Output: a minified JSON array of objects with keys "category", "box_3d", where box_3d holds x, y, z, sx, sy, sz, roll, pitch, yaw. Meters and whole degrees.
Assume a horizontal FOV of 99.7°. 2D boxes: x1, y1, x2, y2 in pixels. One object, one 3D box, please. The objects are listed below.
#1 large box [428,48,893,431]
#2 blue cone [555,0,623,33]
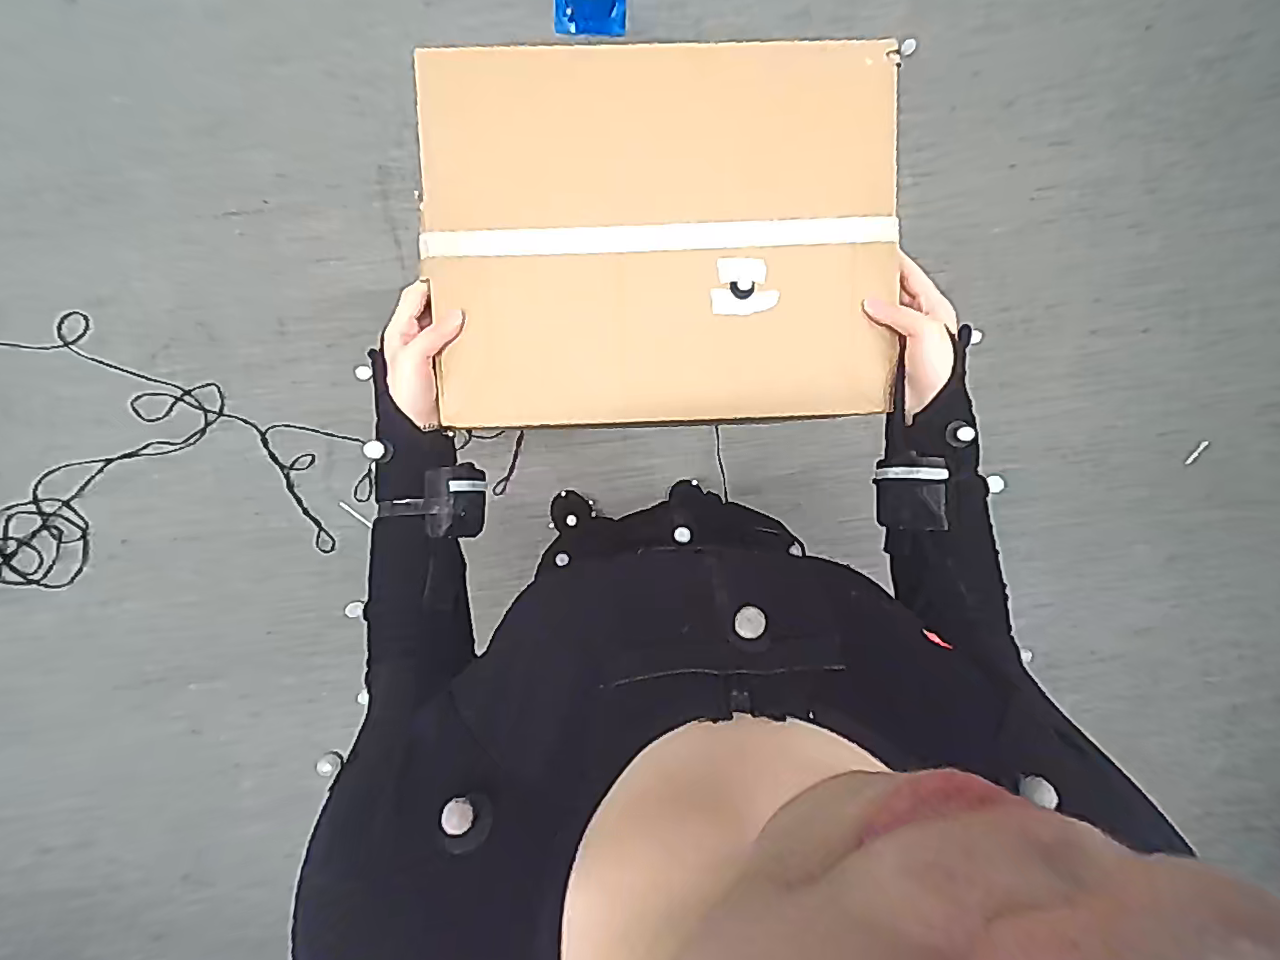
[{"category":"large box","box_3d":[0.018,-0.224,0.621,0.408,0.320,0.320,-2,95,-2]},{"category":"blue cone","box_3d":[-0.139,-1.360,1.361,0.193,0.380,0.192,3,89,-2]}]
